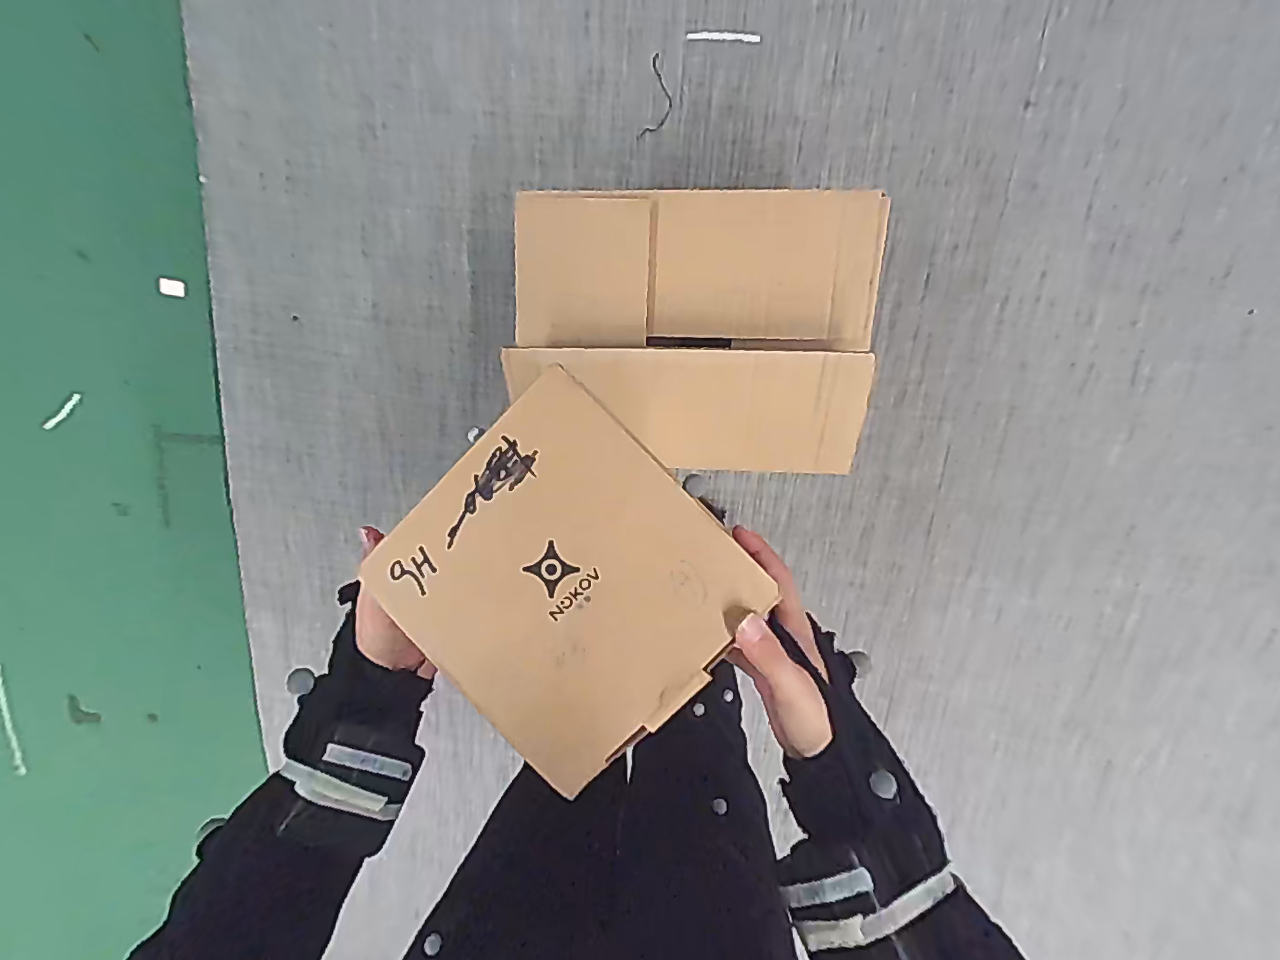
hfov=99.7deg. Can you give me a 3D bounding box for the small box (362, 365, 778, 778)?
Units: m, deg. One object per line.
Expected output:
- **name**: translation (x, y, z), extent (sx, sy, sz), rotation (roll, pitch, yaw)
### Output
- **small box**: translation (-0.036, 0.048, 0.377), extent (0.168, 0.176, 0.179), rotation (-45, 89, 3)
